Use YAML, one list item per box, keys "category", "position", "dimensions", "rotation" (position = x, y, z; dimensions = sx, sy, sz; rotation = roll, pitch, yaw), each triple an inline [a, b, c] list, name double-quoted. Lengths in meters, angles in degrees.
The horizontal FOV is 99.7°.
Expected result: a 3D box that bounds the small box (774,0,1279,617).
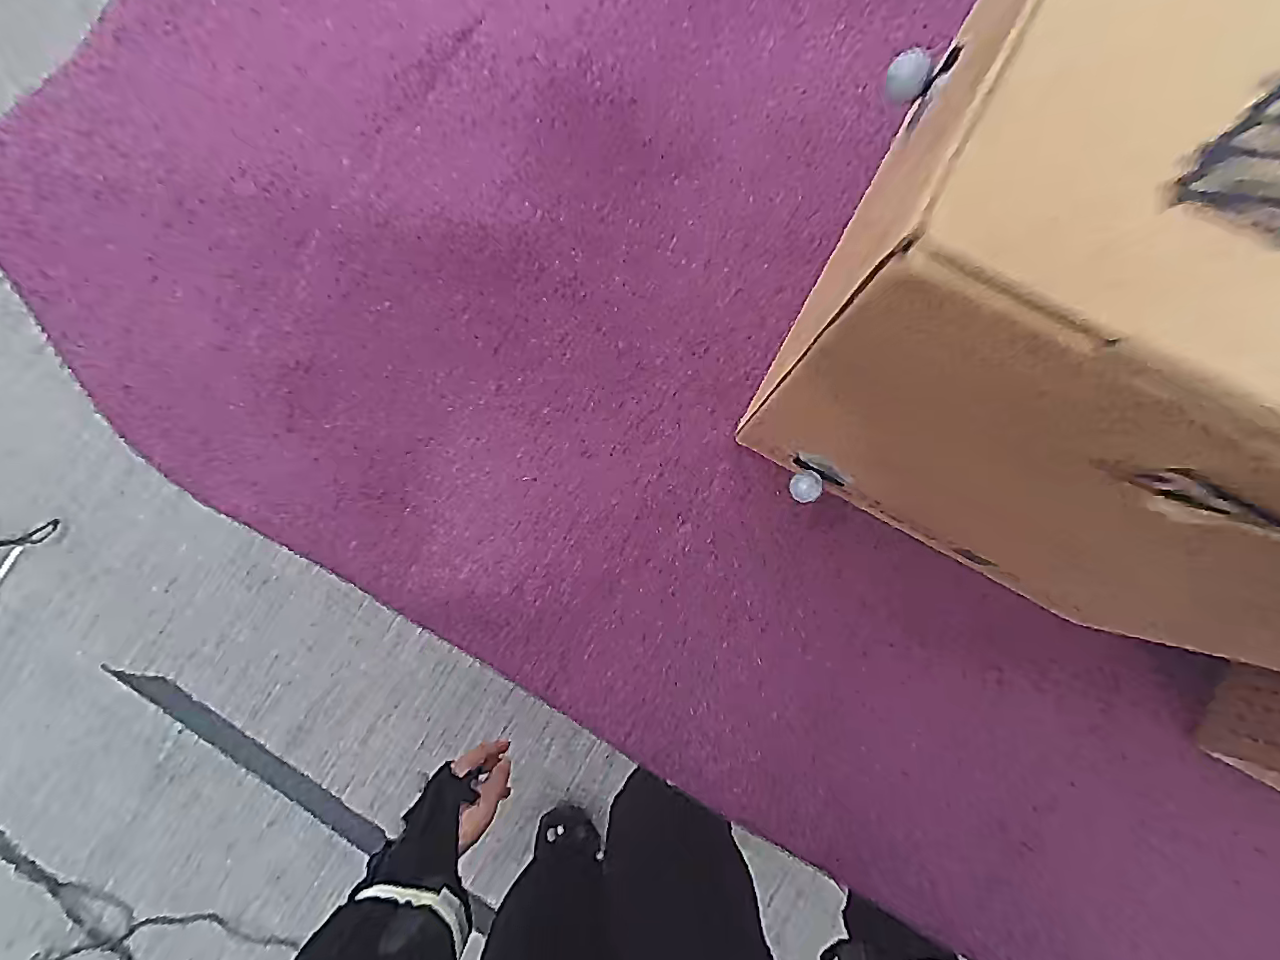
- category: "small box"
  position: [0.156, -0.070, 0.158]
  dimensions: [0.168, 0.176, 0.179]
  rotation: [29, 85, 4]
